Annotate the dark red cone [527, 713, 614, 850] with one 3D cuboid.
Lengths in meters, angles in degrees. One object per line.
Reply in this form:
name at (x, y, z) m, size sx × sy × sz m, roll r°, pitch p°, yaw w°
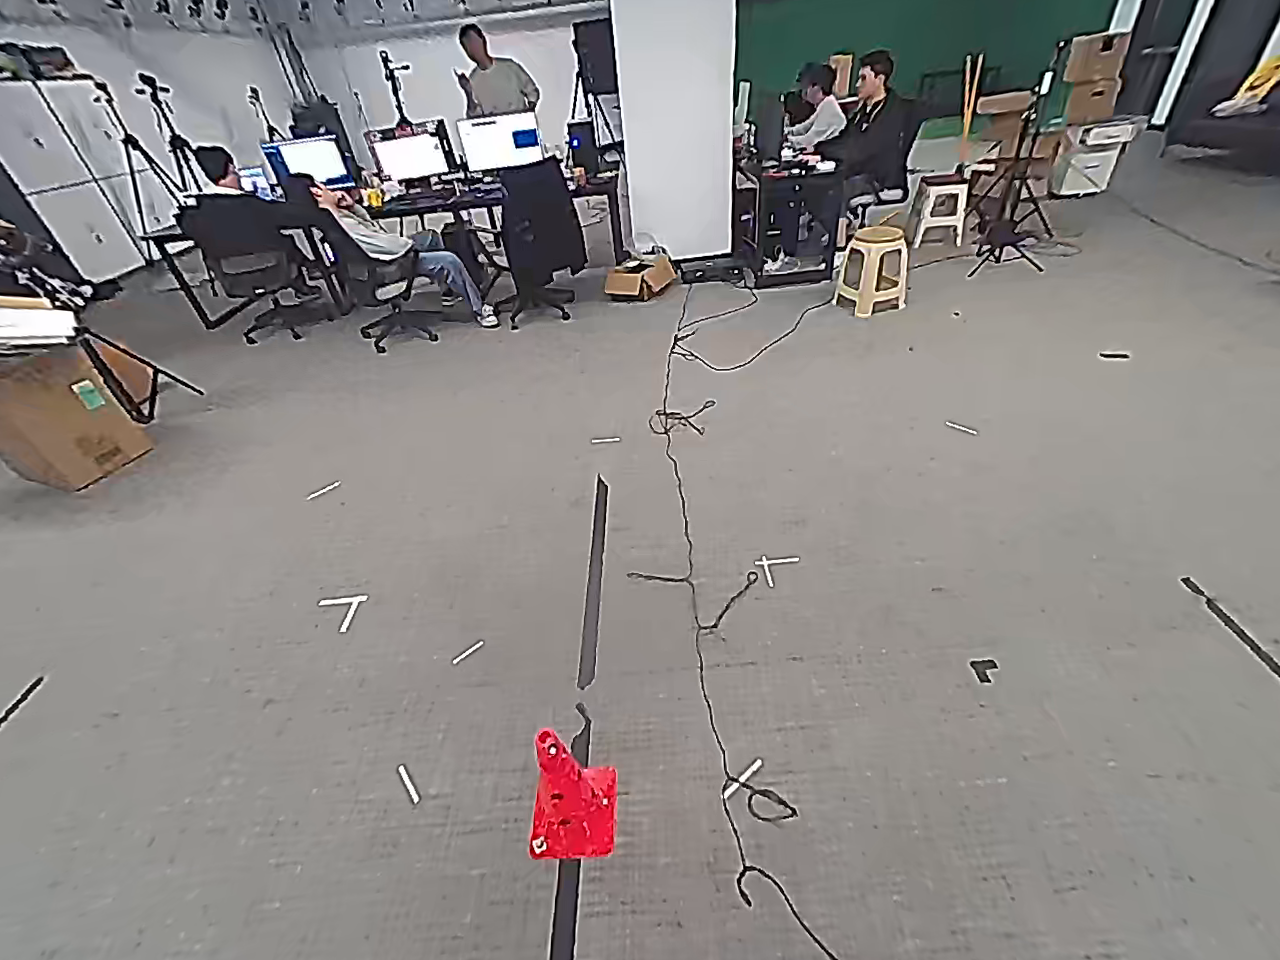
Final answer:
dark red cone at (-0.175, 0.644, 1.197) m, size 0.201 × 0.394 × 0.202 m, roll -4°, pitch 37°, yaw 2°
